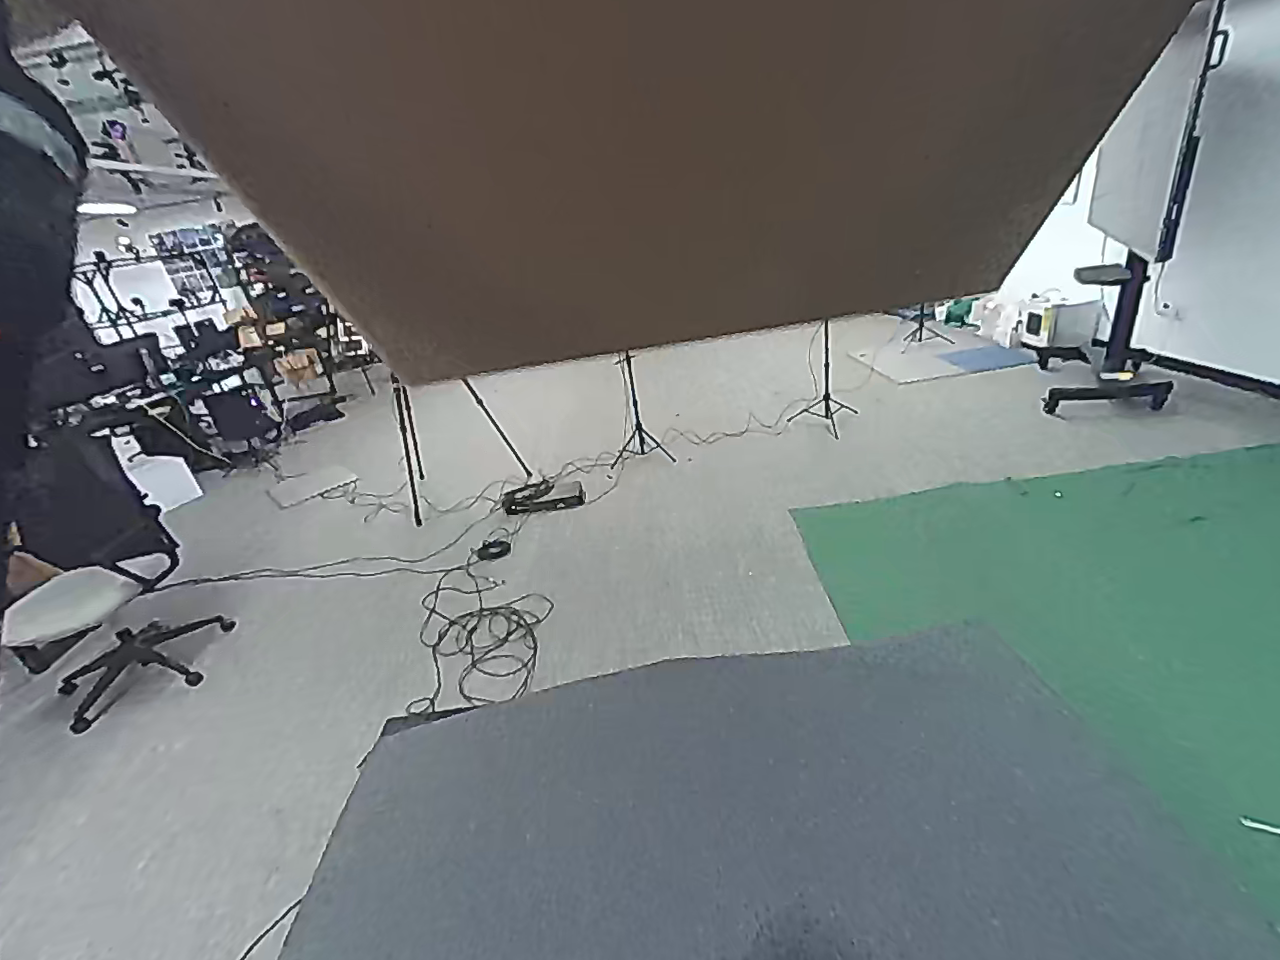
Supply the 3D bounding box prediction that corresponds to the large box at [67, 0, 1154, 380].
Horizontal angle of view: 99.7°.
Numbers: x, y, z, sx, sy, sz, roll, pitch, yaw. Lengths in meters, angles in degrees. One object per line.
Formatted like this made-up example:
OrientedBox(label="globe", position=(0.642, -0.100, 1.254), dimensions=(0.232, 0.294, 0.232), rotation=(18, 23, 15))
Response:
OrientedBox(label="large box", position=(-0.005, -0.291, 0.292), dimensions=(0.408, 0.320, 0.320), rotation=(-9, 68, 2))
